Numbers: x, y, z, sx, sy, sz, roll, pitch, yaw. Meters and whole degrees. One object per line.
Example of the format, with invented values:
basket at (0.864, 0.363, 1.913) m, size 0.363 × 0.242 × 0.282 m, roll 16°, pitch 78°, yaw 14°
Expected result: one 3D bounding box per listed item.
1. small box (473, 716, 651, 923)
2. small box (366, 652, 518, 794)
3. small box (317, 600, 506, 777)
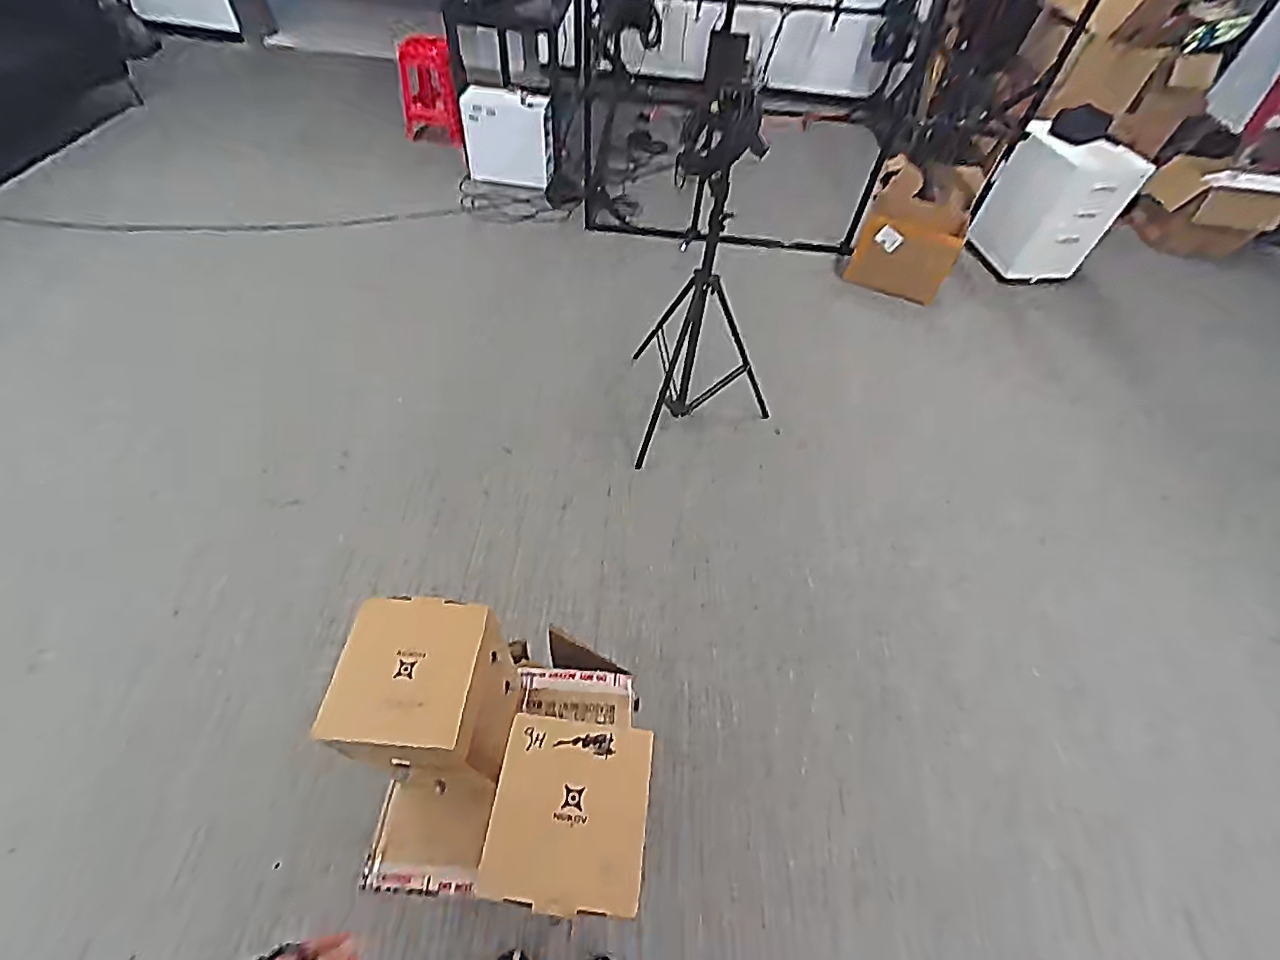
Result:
small box at (-0.082, 0.403, 0.648) m, size 0.168 × 0.176 × 0.179 m, roll 8°, pitch 54°, yaw 0°
small box at (-0.294, 0.378, 0.851) m, size 0.168 × 0.176 × 0.179 m, roll 4°, pitch 53°, yaw 0°
small box at (-0.284, 0.280, 0.722) m, size 0.168 × 0.176 × 0.179 m, roll 4°, pitch 53°, yaw 0°
